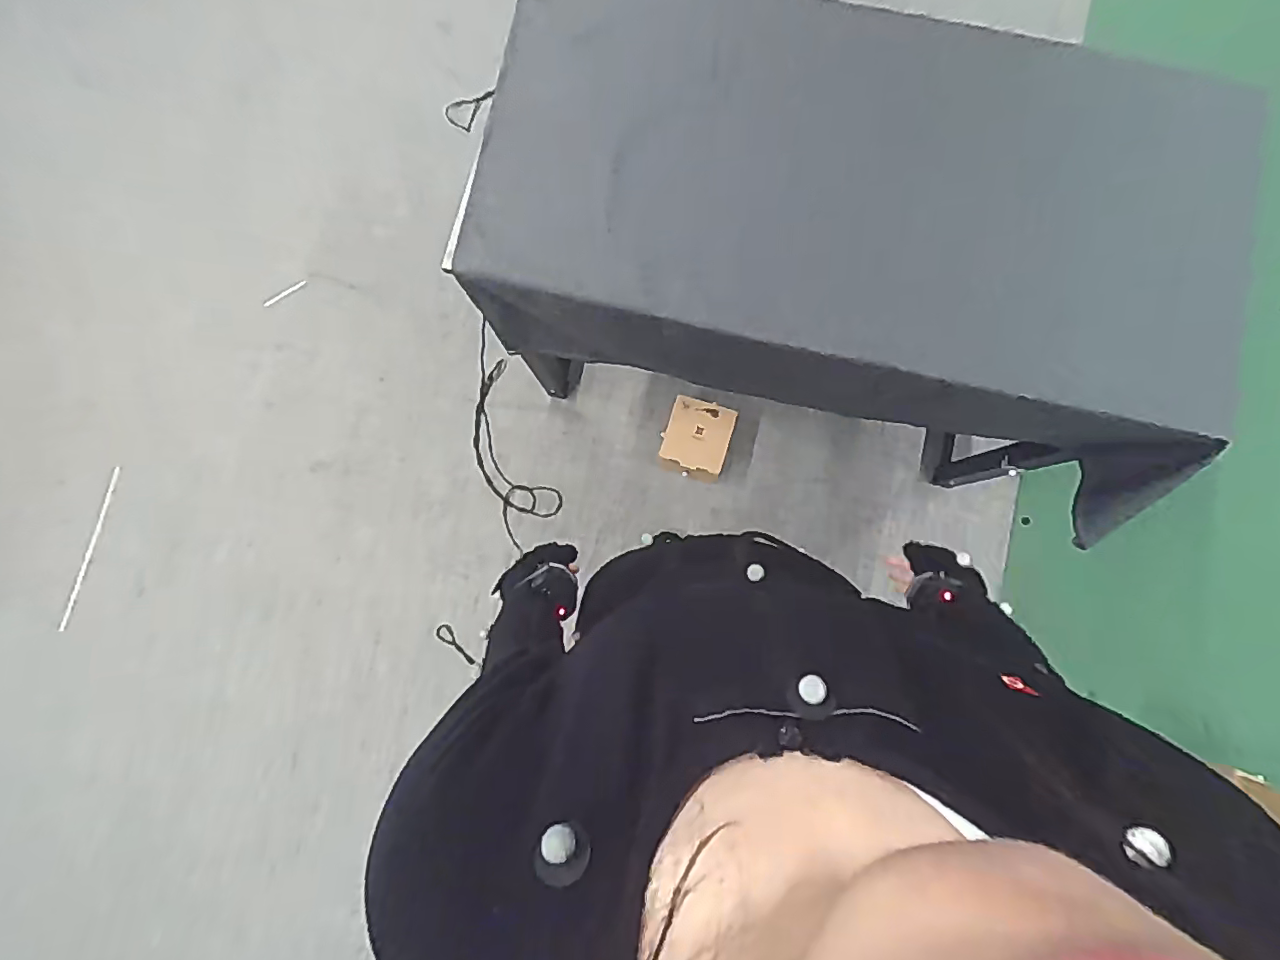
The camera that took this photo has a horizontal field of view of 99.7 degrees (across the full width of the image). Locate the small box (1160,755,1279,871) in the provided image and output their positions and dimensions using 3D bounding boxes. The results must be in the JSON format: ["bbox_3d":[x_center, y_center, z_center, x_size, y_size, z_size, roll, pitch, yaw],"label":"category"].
[{"bbox_3d":[1.425,0.791,1.293,0.179,0.176,0.168,24,82,6],"label":"small box"}]

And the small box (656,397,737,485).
[{"bbox_3d":[0.148,-0.096,1.446,0.168,0.176,0.179,17,83,4],"label":"small box"}]

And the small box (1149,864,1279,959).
[{"bbox_3d":[1.347,1.036,1.260,0.179,0.176,0.168,11,82,2],"label":"small box"}]
